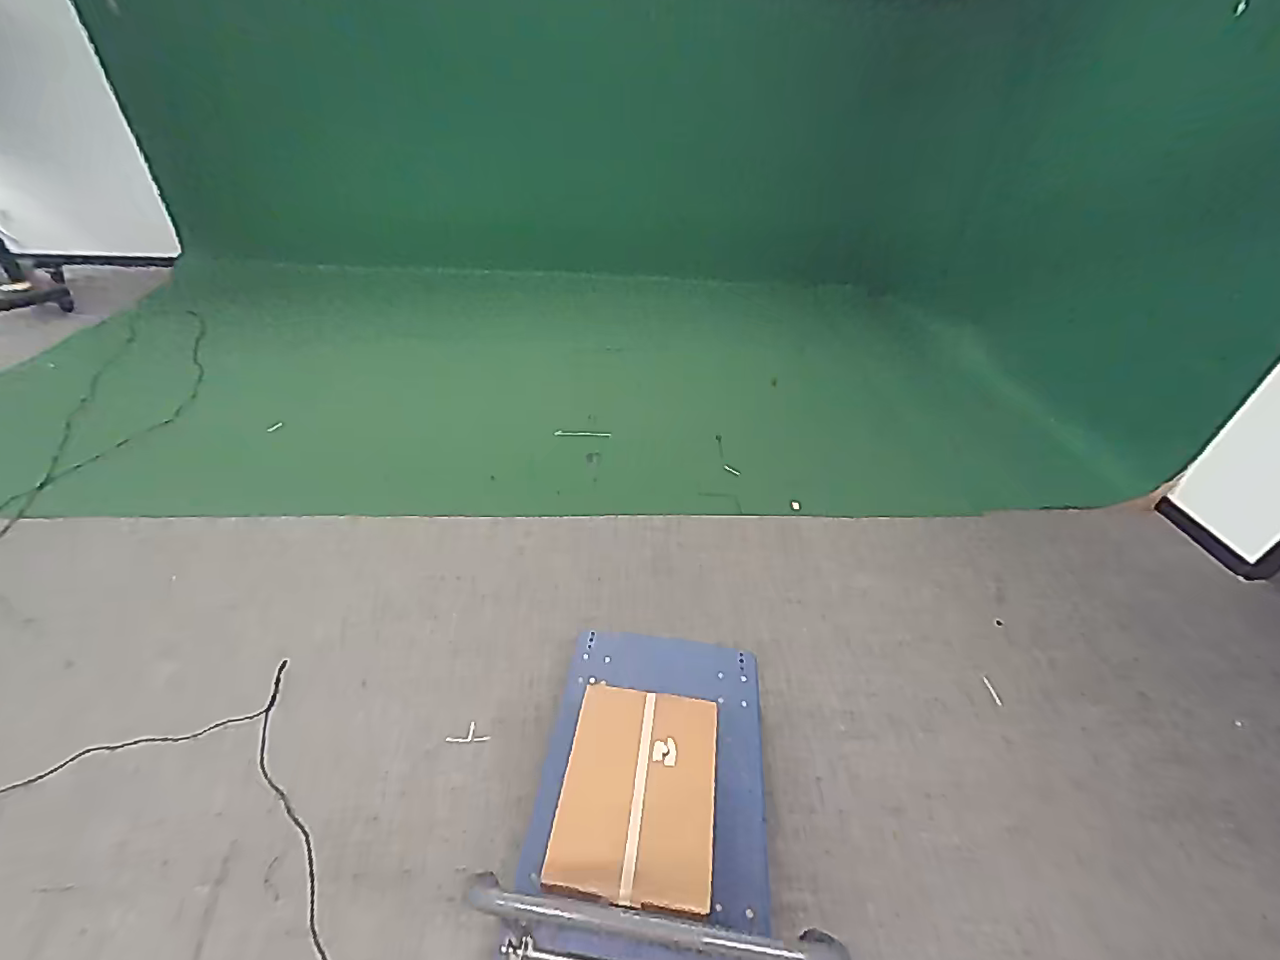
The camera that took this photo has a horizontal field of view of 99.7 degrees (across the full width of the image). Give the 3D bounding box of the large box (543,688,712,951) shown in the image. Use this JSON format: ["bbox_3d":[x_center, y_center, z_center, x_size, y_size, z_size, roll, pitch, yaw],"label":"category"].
[{"bbox_3d":[-0.011,0.754,1.225,0.320,0.320,0.408,7,37,4],"label":"large box"}]
